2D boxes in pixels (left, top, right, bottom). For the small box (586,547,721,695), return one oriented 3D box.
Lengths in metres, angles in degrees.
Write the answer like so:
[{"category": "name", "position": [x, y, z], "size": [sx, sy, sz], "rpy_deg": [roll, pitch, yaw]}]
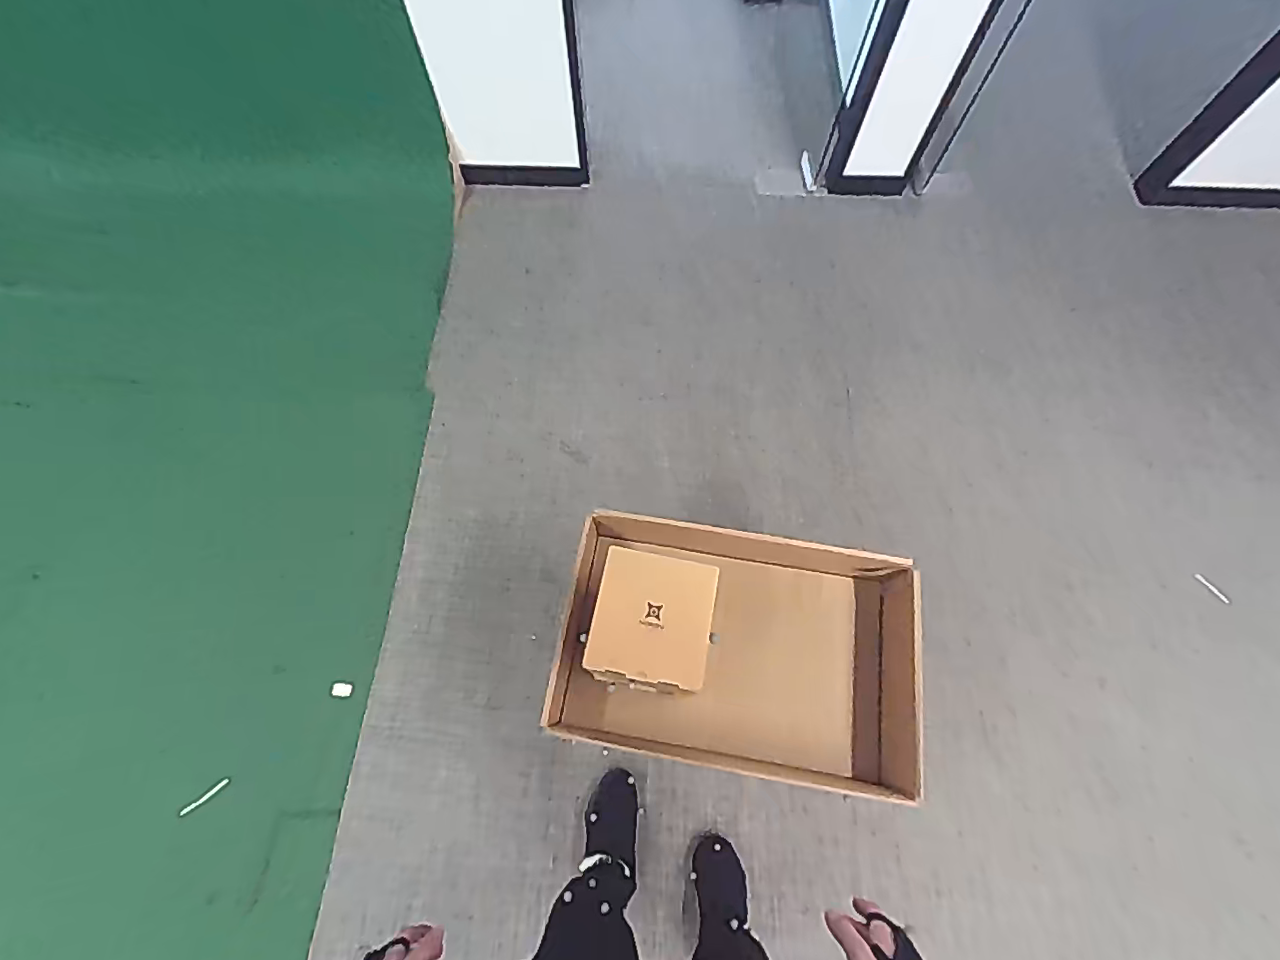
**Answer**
[{"category": "small box", "position": [0.019, 0.220, 0.827], "size": [0.168, 0.176, 0.179], "rpy_deg": [11, 70, 3]}]
